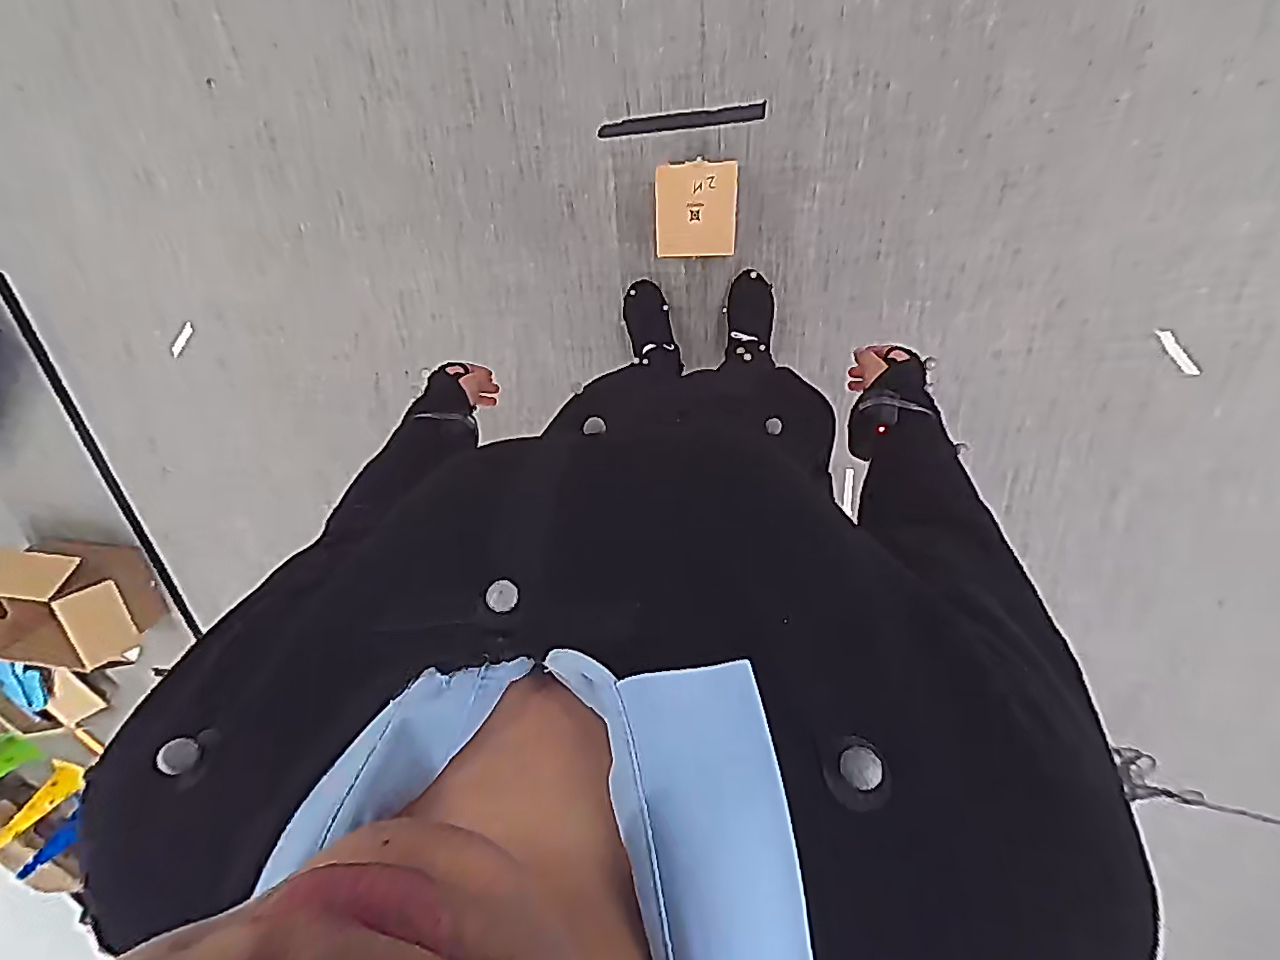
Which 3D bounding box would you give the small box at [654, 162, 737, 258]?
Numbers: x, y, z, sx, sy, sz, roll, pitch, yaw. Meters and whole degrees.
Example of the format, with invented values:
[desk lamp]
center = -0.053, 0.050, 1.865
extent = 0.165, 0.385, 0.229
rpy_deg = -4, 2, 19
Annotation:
[small box]
center = 0.122, -0.587, 1.177
extent = 0.168, 0.176, 0.179
rpy_deg = 2, 117, 7
